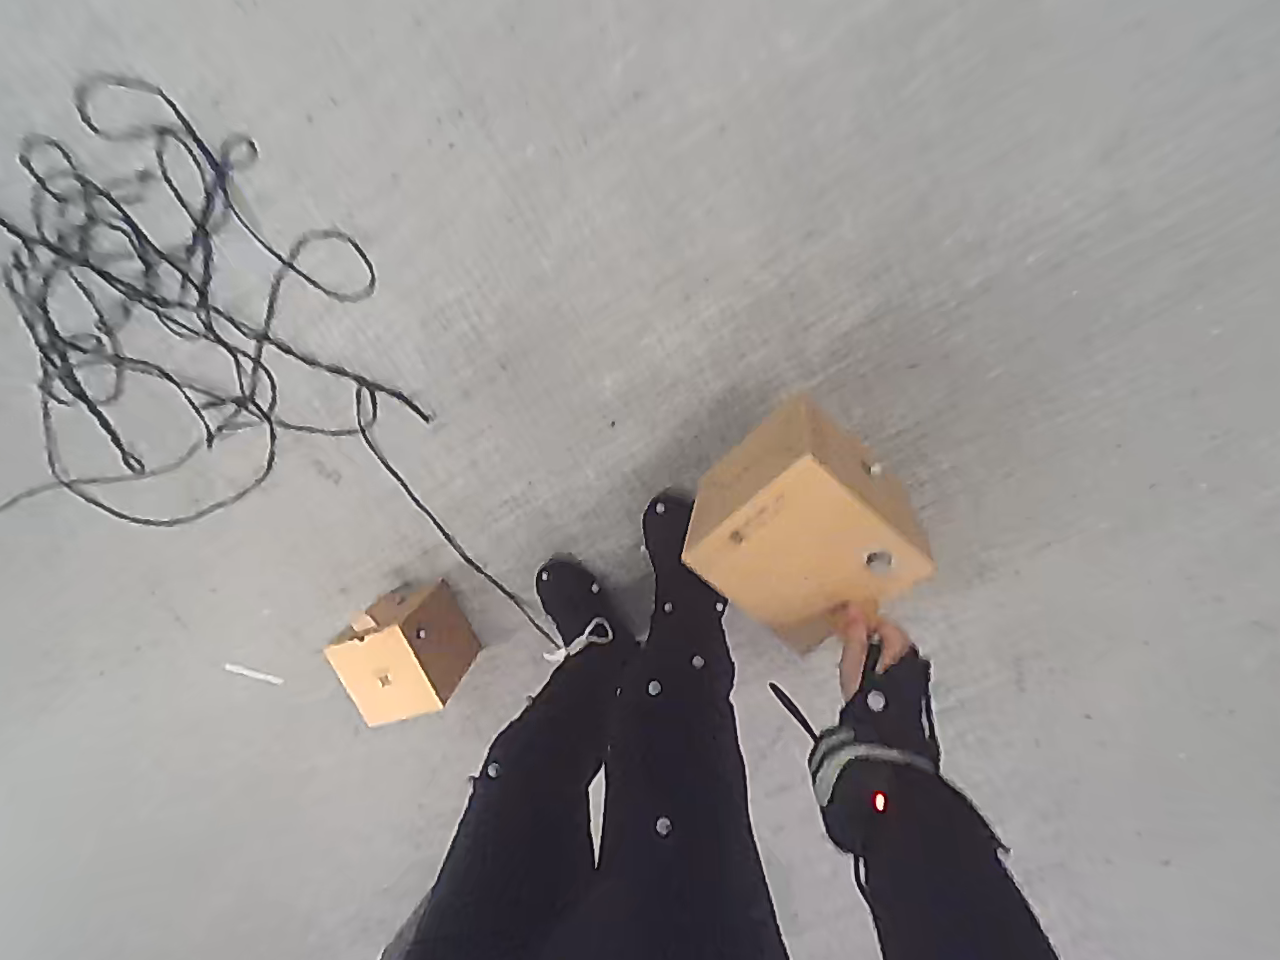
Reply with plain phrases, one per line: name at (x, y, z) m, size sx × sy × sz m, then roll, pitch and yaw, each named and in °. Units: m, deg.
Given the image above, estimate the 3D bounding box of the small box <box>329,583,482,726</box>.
small box at (-0.428, 0.323, 1.019) m, size 0.168 × 0.176 × 0.179 m, roll -19°, pitch 103°, yaw 13°
